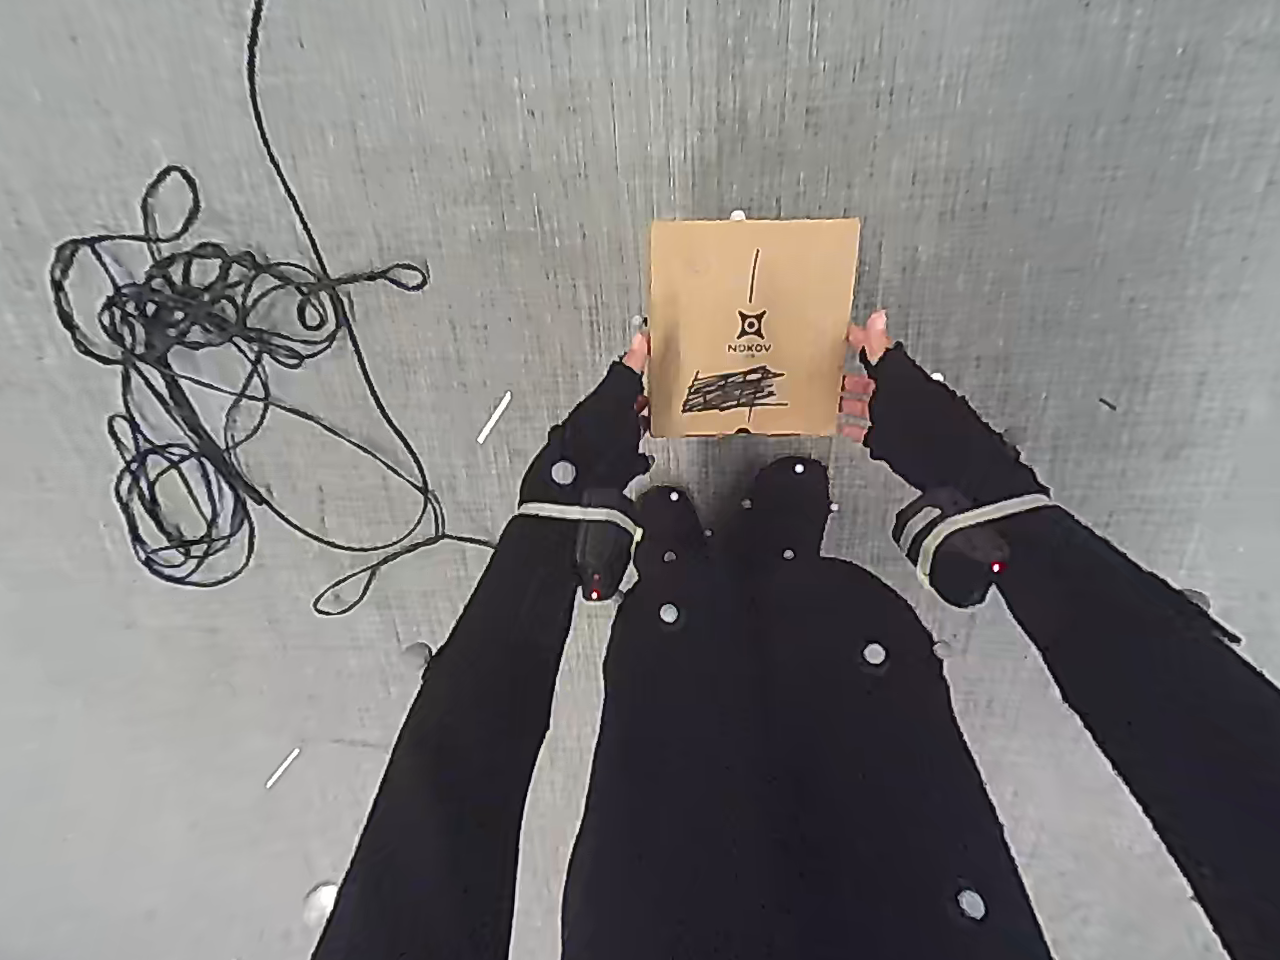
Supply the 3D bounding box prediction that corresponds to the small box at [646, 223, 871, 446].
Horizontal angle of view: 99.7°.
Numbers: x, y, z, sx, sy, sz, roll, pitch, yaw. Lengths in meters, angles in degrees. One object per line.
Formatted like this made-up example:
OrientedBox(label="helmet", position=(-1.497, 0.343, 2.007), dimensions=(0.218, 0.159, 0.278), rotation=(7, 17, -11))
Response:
OrientedBox(label="small box", position=(0.092, -0.140, 0.509), dimensions=(0.168, 0.176, 0.179), rotation=(0, 111, -1))
